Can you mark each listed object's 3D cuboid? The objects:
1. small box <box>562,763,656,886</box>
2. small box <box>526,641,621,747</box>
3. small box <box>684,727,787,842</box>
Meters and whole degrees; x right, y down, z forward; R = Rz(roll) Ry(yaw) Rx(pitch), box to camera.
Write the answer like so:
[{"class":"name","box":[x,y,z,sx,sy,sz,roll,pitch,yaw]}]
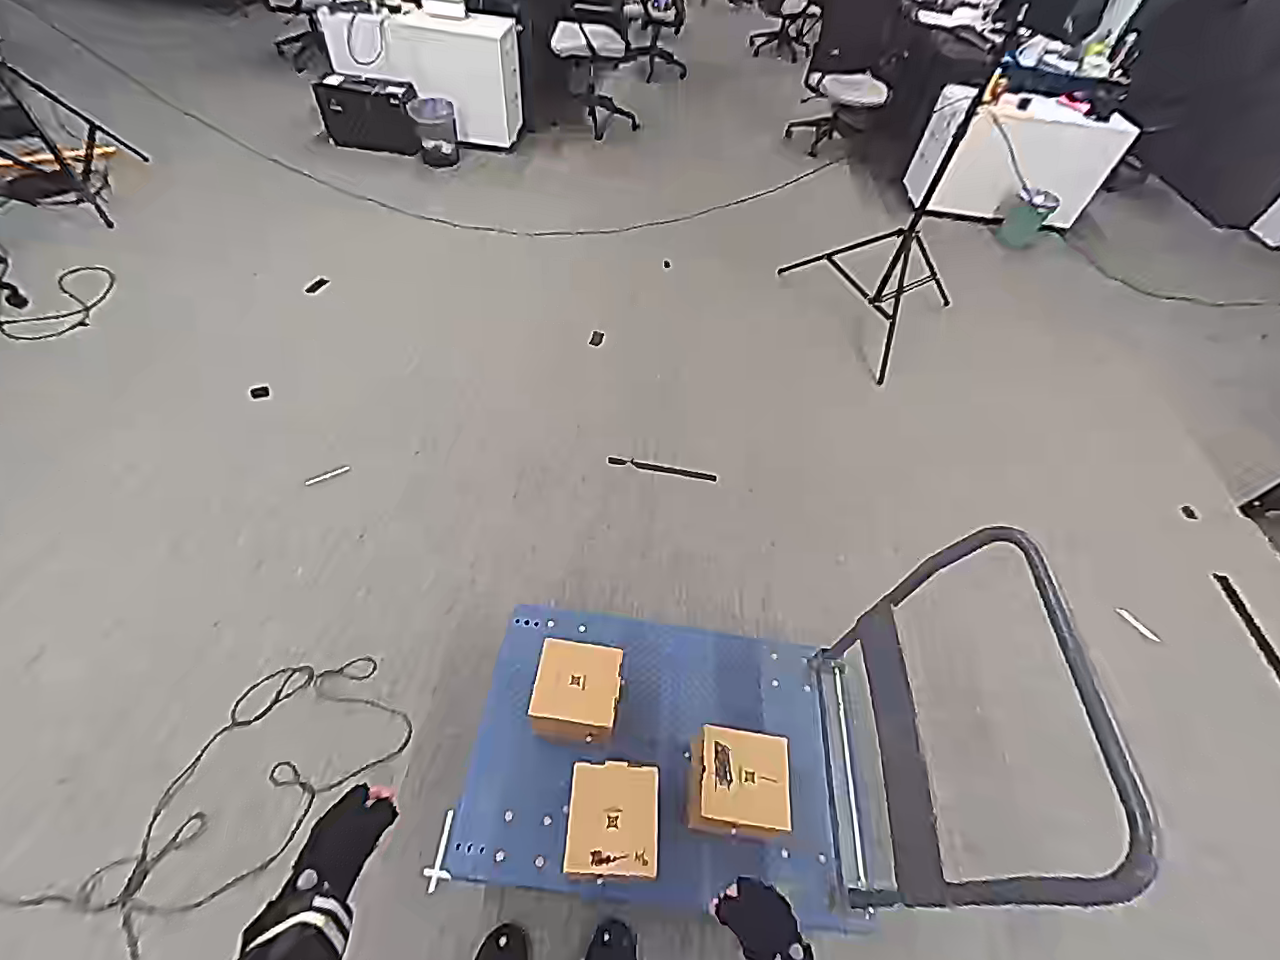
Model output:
[{"class":"small box","box":[-0.061,0.674,1.055,0.168,0.176,0.179,5,50,-3]},{"class":"small box","box":[-0.143,0.480,1.201,0.179,0.176,0.168,8,50,0]},{"class":"small box","box":[0.193,0.634,1.120,0.179,0.176,0.168,10,51,0]}]
